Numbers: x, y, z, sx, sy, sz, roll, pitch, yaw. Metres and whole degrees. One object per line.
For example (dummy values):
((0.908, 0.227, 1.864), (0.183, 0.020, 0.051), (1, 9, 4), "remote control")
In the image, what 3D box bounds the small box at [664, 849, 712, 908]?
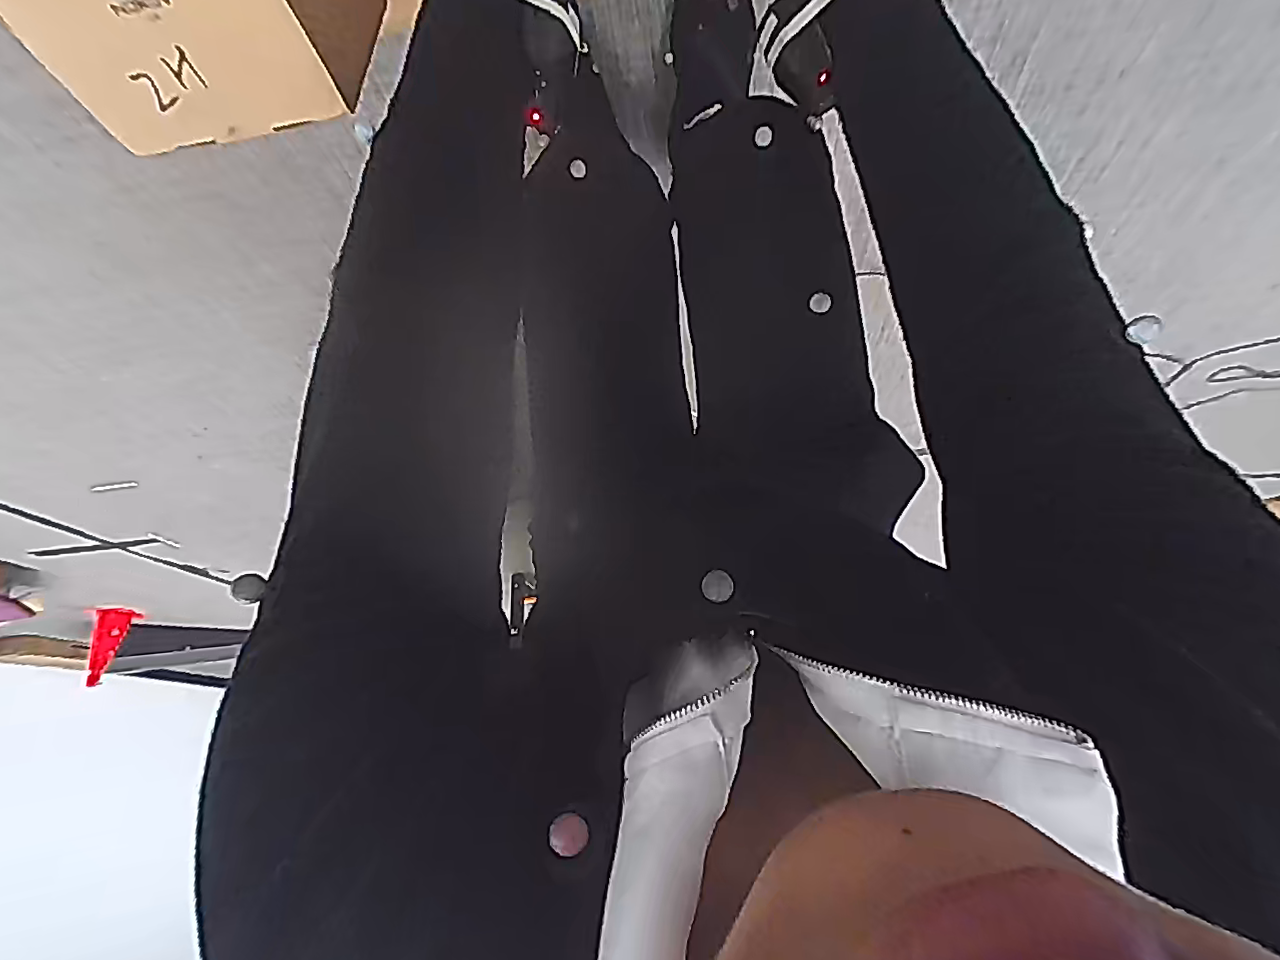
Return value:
((0.201, 1.649, 2.247), (0.168, 0.176, 0.179), (-9, 155, 12), "small box")

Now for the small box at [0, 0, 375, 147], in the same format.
((-0.295, -0.356, 0.339), (0.168, 0.176, 0.179), (-7, 153, 5), "small box")
